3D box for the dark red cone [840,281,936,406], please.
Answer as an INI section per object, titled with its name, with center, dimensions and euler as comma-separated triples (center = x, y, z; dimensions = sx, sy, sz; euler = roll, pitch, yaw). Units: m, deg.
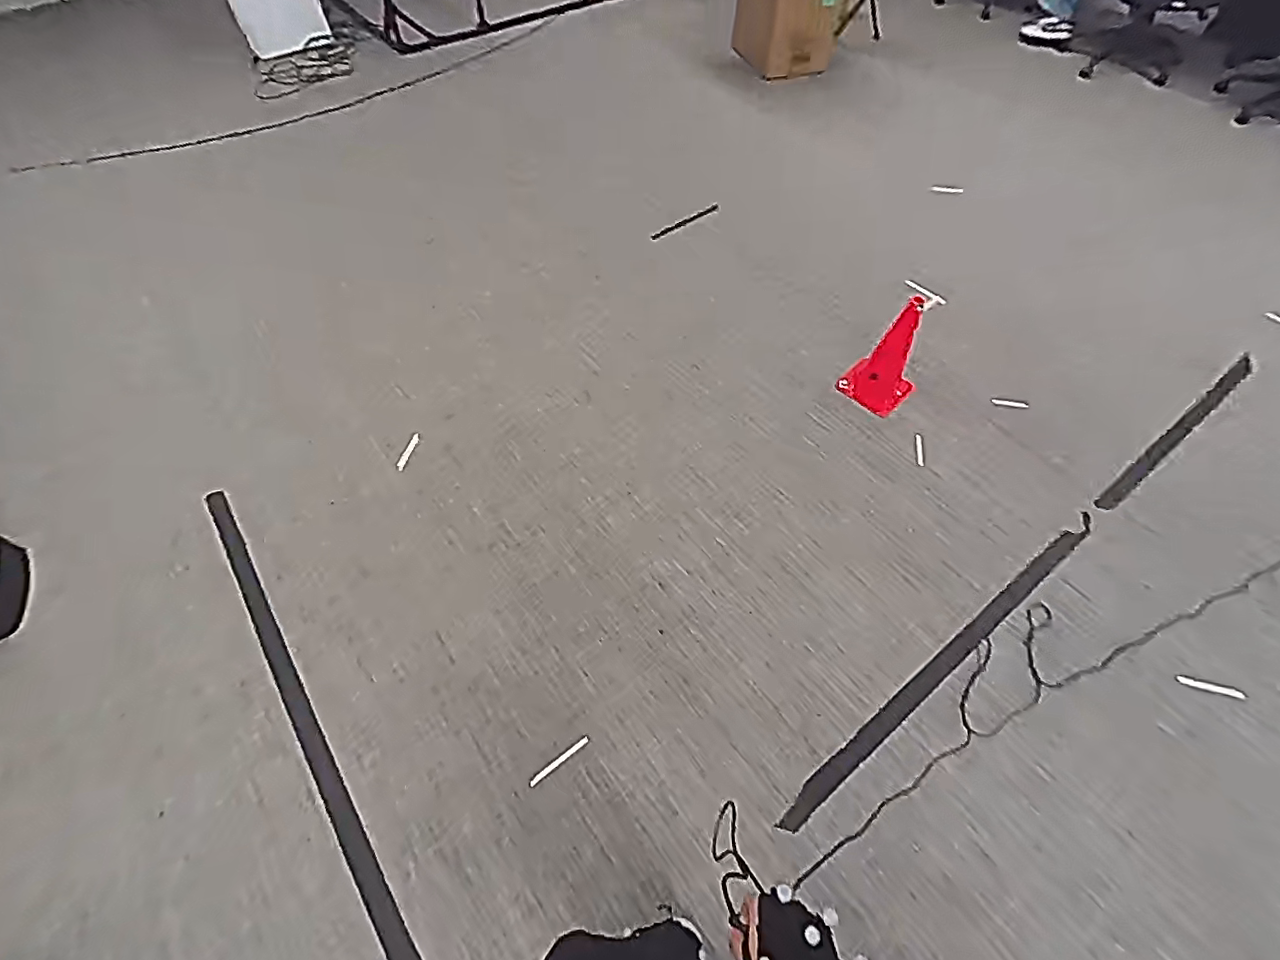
[dark red cone]
center = 0.790, -0.429, 1.648
dimensions = 0.202, 0.394, 0.201
euler = -40, 66, -23
